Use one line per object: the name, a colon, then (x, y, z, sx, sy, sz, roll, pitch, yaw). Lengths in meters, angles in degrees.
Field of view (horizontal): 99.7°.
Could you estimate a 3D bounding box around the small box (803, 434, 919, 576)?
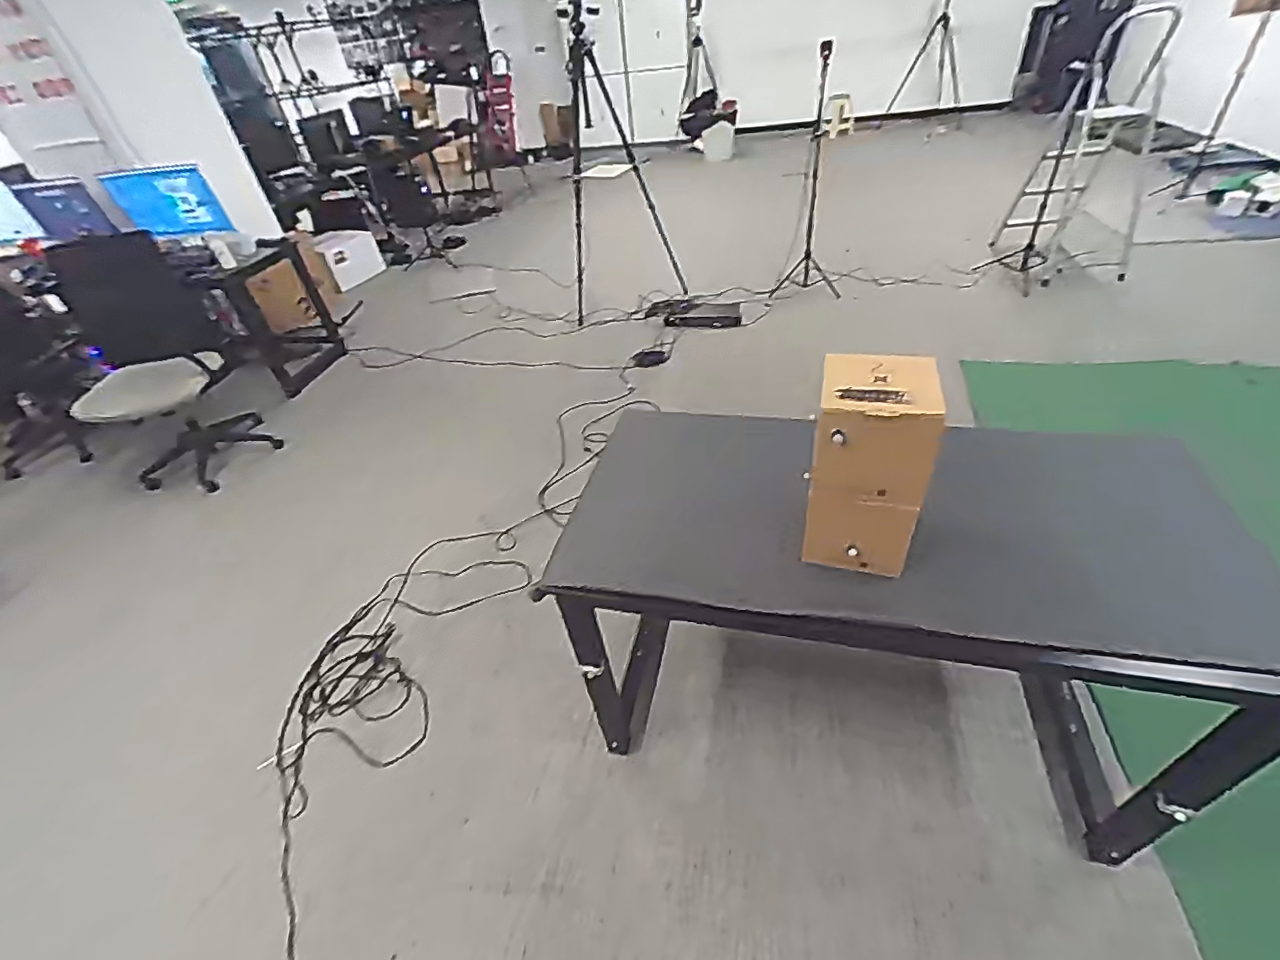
small box: (0.388, 0.041, 0.964, 0.168, 0.176, 0.179, 7, 41, 19)
